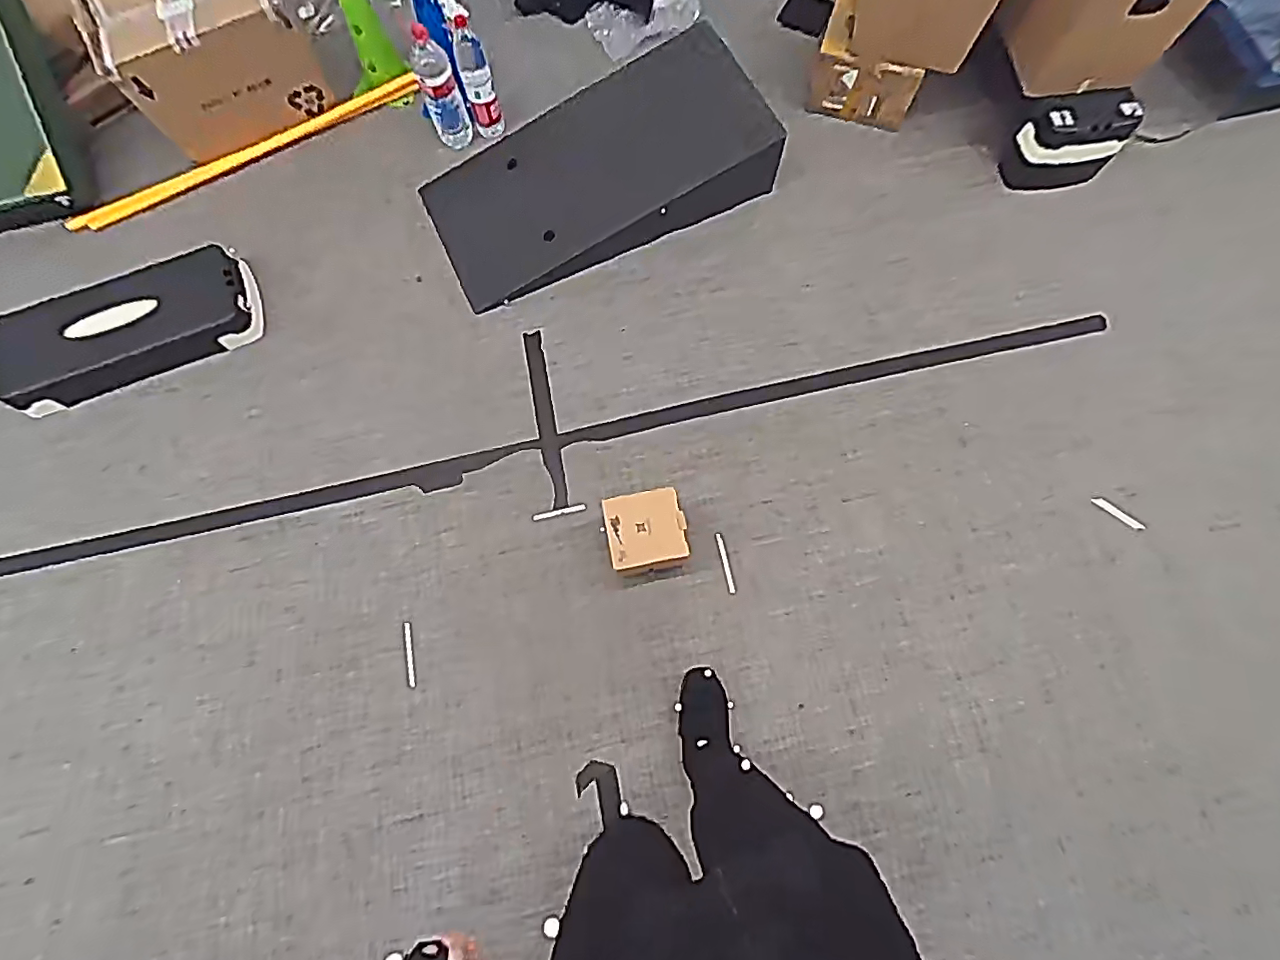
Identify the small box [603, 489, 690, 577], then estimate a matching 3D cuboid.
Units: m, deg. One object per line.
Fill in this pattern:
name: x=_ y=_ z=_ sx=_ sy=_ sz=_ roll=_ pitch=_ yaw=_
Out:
small box: x=0.011 y=0.131 z=1.282 sx=0.179 sy=0.176 sz=0.168 roll=-10 pitch=75 yaw=-3
